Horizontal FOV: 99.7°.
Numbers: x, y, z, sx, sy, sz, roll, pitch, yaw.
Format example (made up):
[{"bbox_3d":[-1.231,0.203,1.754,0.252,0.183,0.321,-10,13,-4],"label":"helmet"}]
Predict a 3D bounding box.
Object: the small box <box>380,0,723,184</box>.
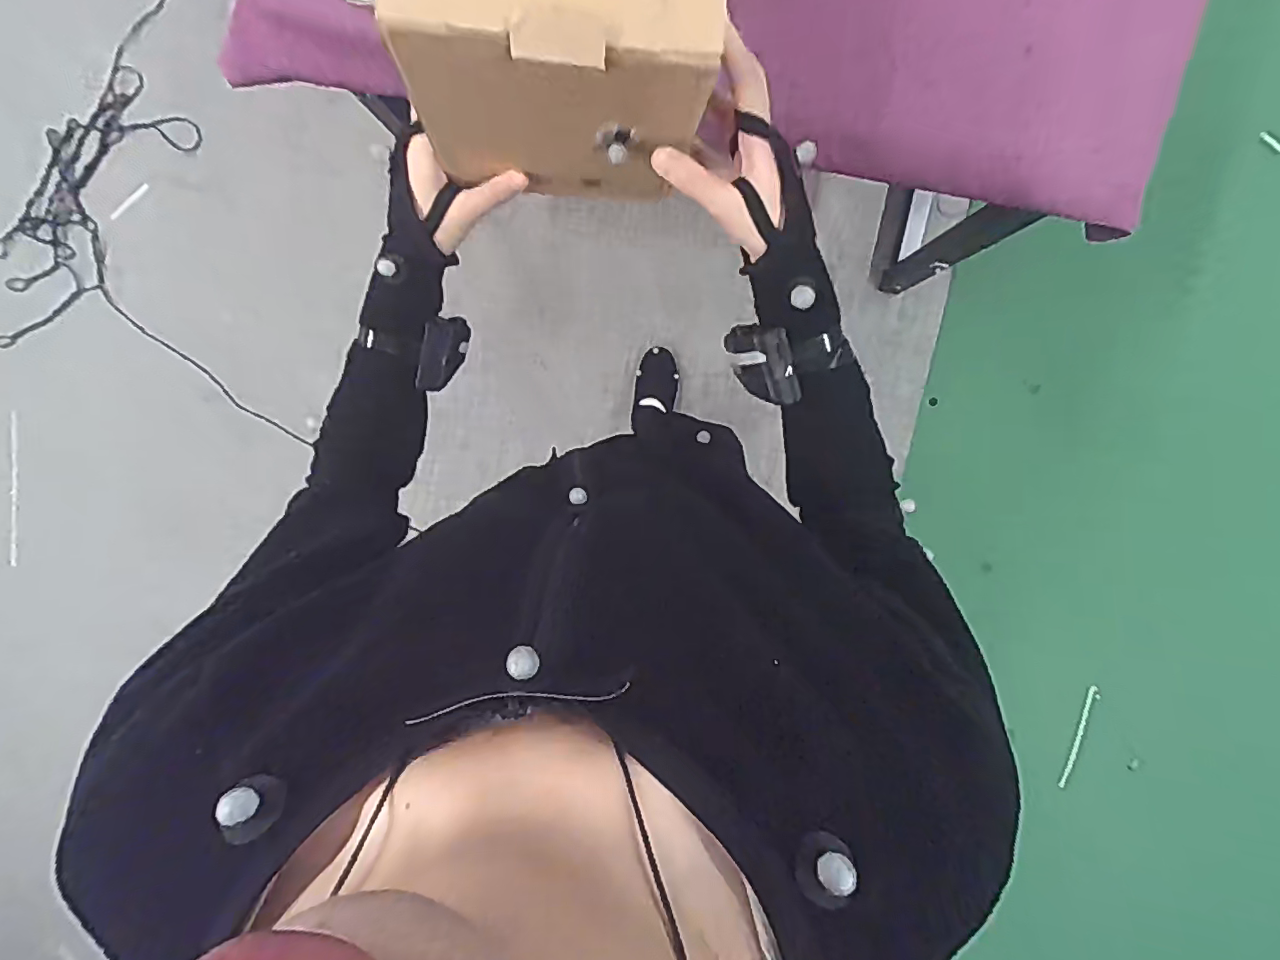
[{"bbox_3d":[-0.047,-0.307,0.329,0.168,0.176,0.179,1,95,-8],"label":"small box"}]
